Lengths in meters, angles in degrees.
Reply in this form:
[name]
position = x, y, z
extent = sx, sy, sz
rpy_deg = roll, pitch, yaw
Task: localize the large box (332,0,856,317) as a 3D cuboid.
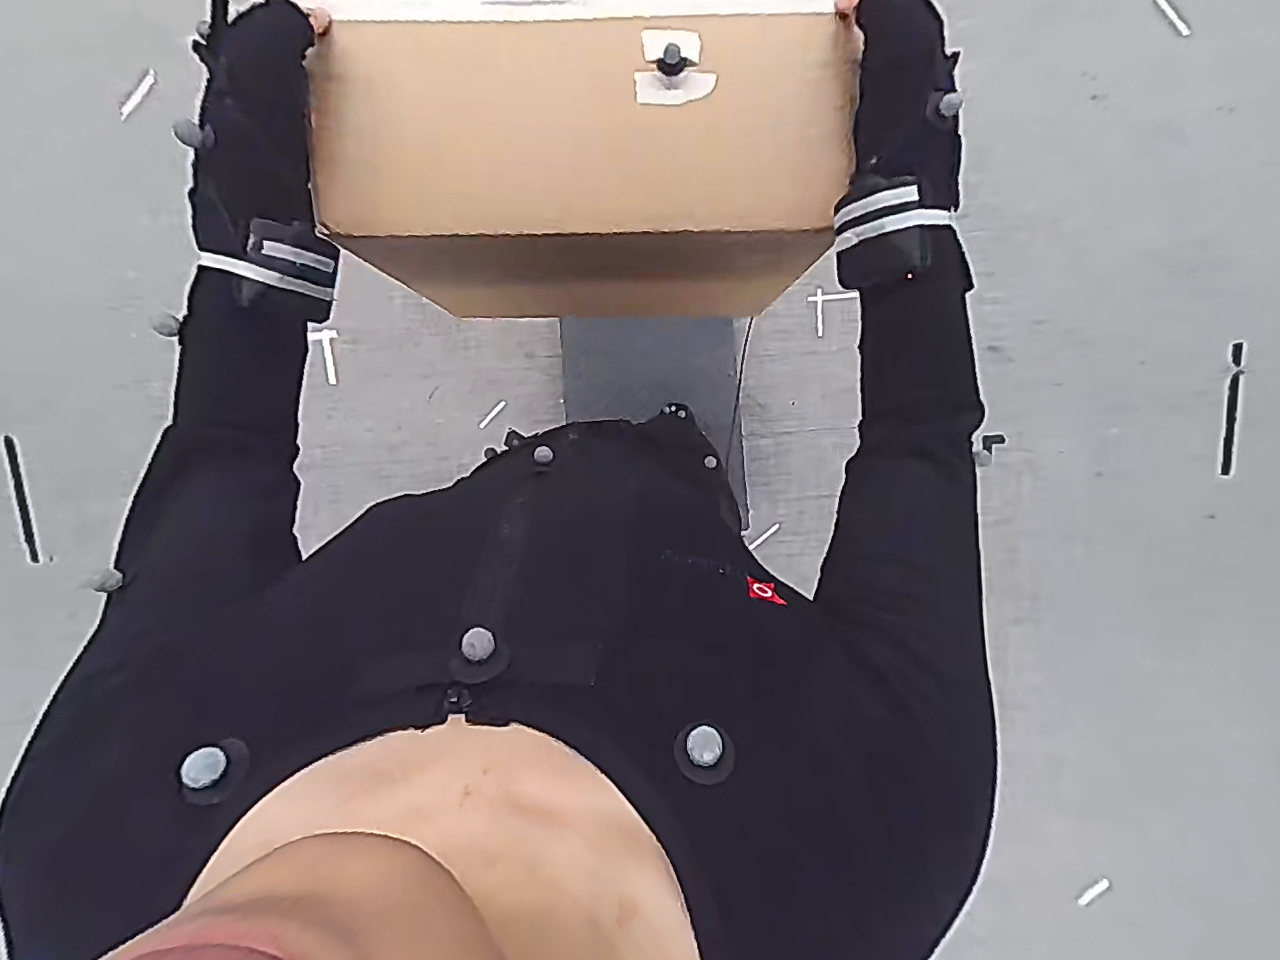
[large box]
position = -0.037, -0.361, 0.557
extent = 0.408, 0.320, 0.320
rpy_deg = 0, 95, -1
